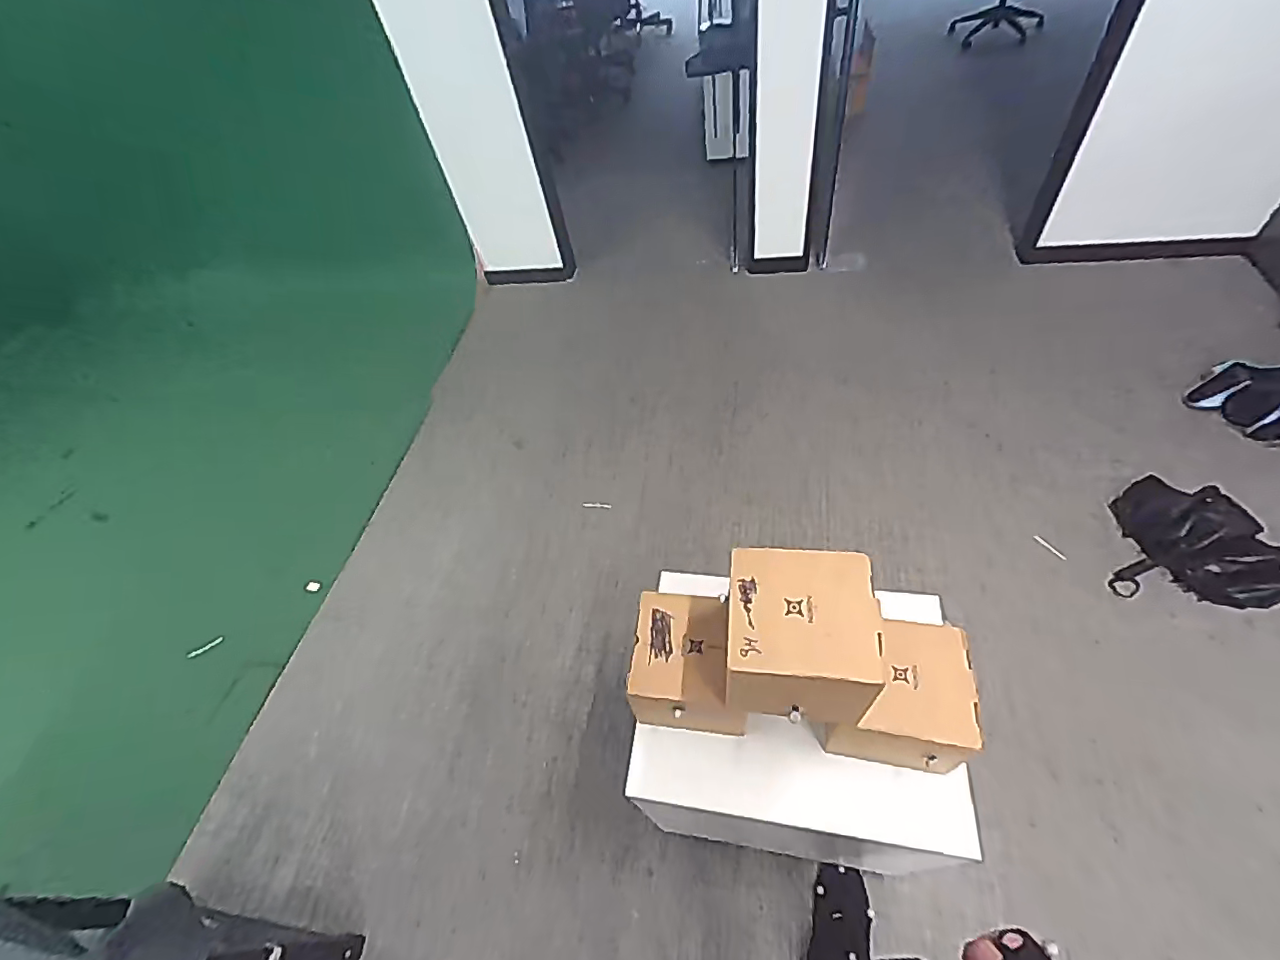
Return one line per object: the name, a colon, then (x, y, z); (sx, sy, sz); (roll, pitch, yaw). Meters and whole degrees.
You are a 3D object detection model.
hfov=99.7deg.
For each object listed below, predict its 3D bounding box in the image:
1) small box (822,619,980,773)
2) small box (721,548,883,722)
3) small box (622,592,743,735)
small box: (0.371, 0.320, 0.802); (0.179, 0.176, 0.168); (3, 52, 15)
small box: (0.200, 0.207, 0.711); (0.179, 0.176, 0.168); (2, 52, 10)
small box: (0.081, 0.297, 0.869); (0.179, 0.176, 0.168); (3, 53, 10)
